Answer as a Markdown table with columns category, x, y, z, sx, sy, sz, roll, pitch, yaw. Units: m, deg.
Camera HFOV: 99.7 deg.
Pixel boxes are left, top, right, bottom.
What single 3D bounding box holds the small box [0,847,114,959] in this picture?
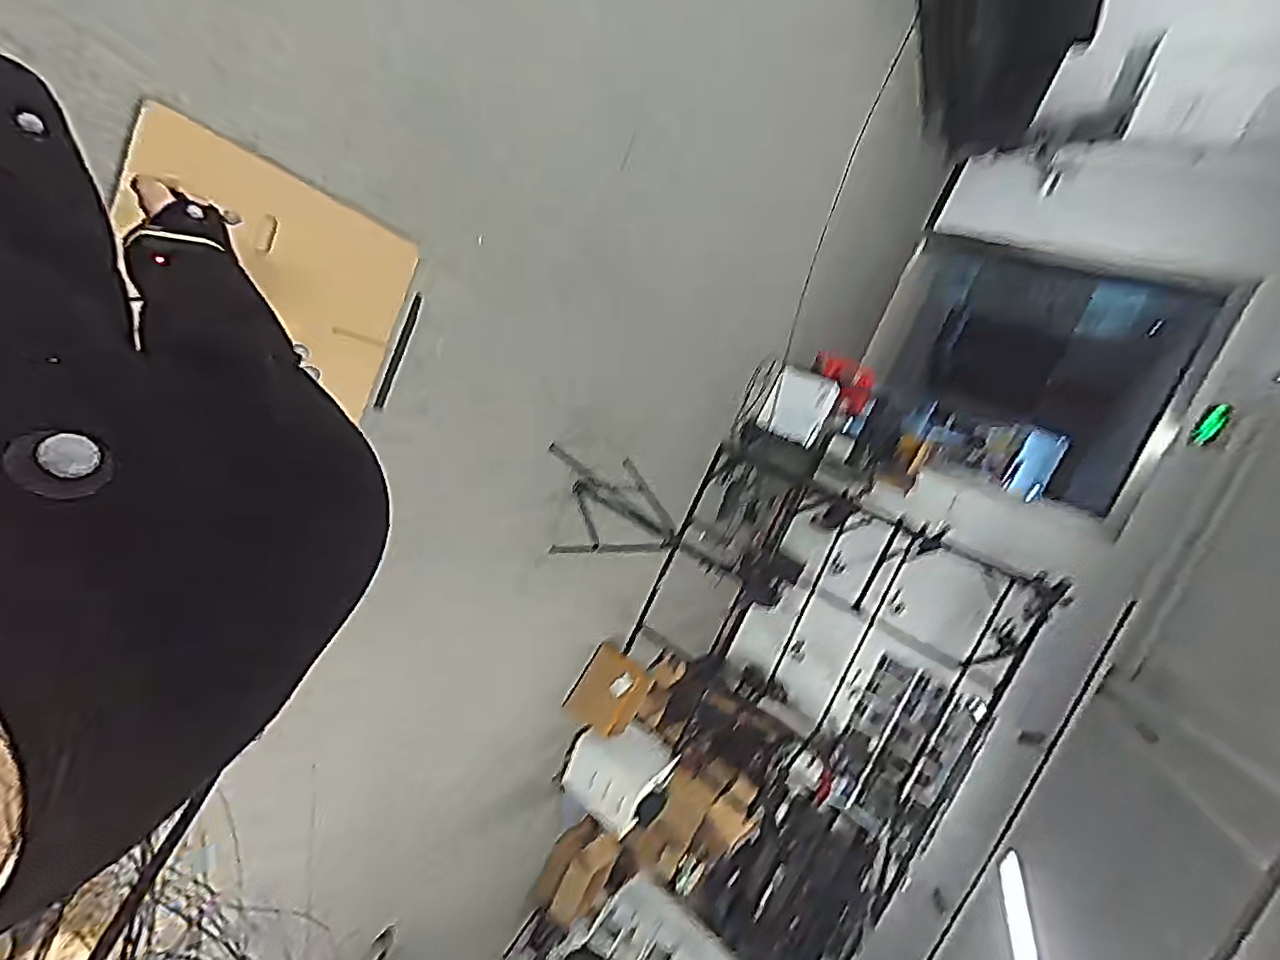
| category | x | y | z | sx | sy | sz | roll | pitch | yaw |
| --- | --- | --- | --- | --- | --- | --- | --- | --- | --- |
| small box | -0.883 | 0.661 | 0.738 | 0.179 | 0.176 | 0.168 | -36 | 141 | -37 |
